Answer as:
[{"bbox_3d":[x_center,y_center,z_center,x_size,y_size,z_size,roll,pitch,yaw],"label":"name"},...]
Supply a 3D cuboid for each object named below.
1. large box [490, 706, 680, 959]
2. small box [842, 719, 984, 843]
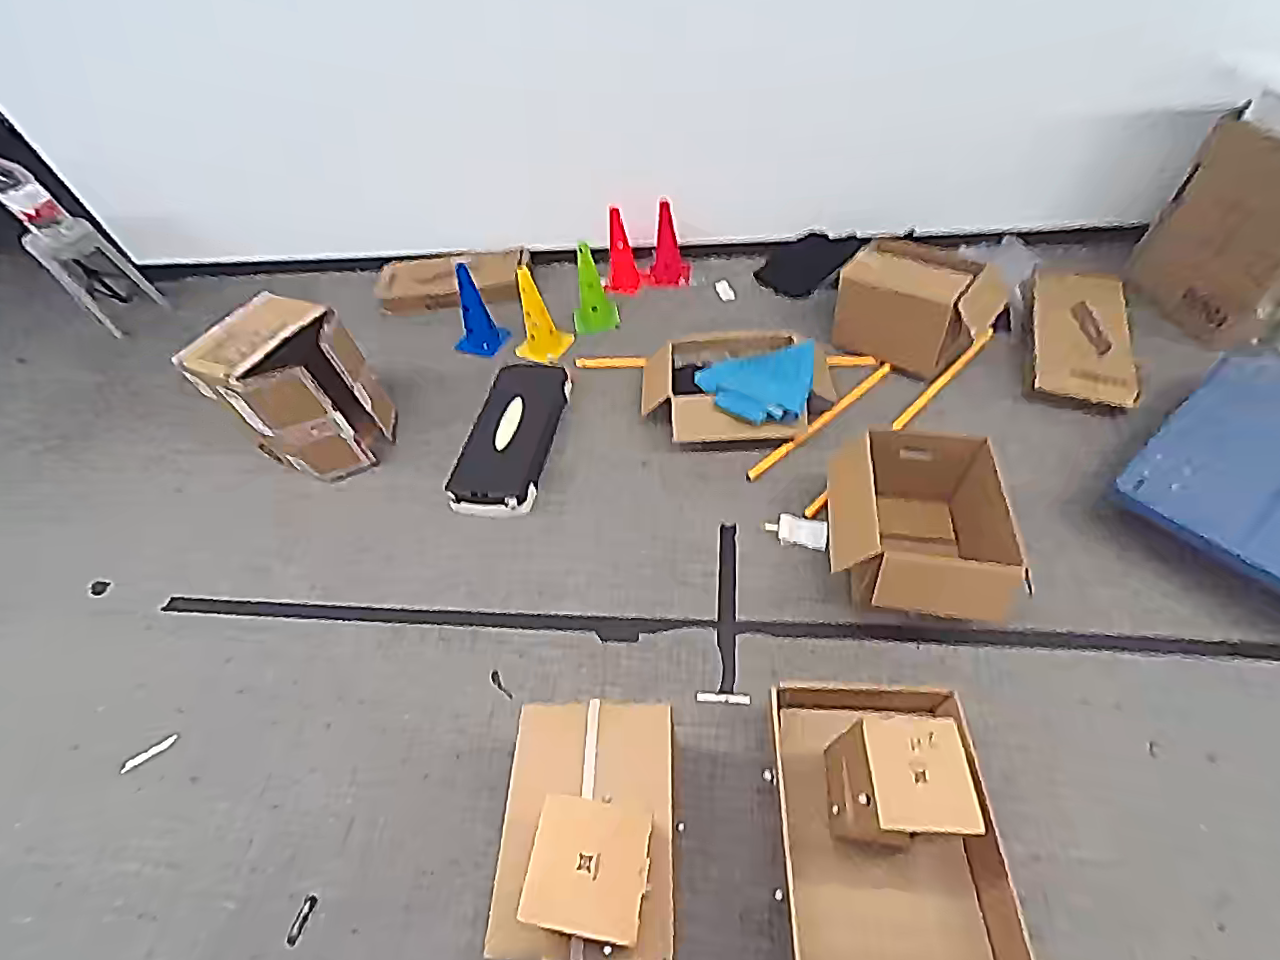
[{"bbox_3d":[-0.080,0.712,1.104,0.320,0.320,0.408,-2,52,5],"label":"large box"},{"bbox_3d":[0.481,0.549,0.983,0.168,0.176,0.179,0,53,5],"label":"small box"}]
